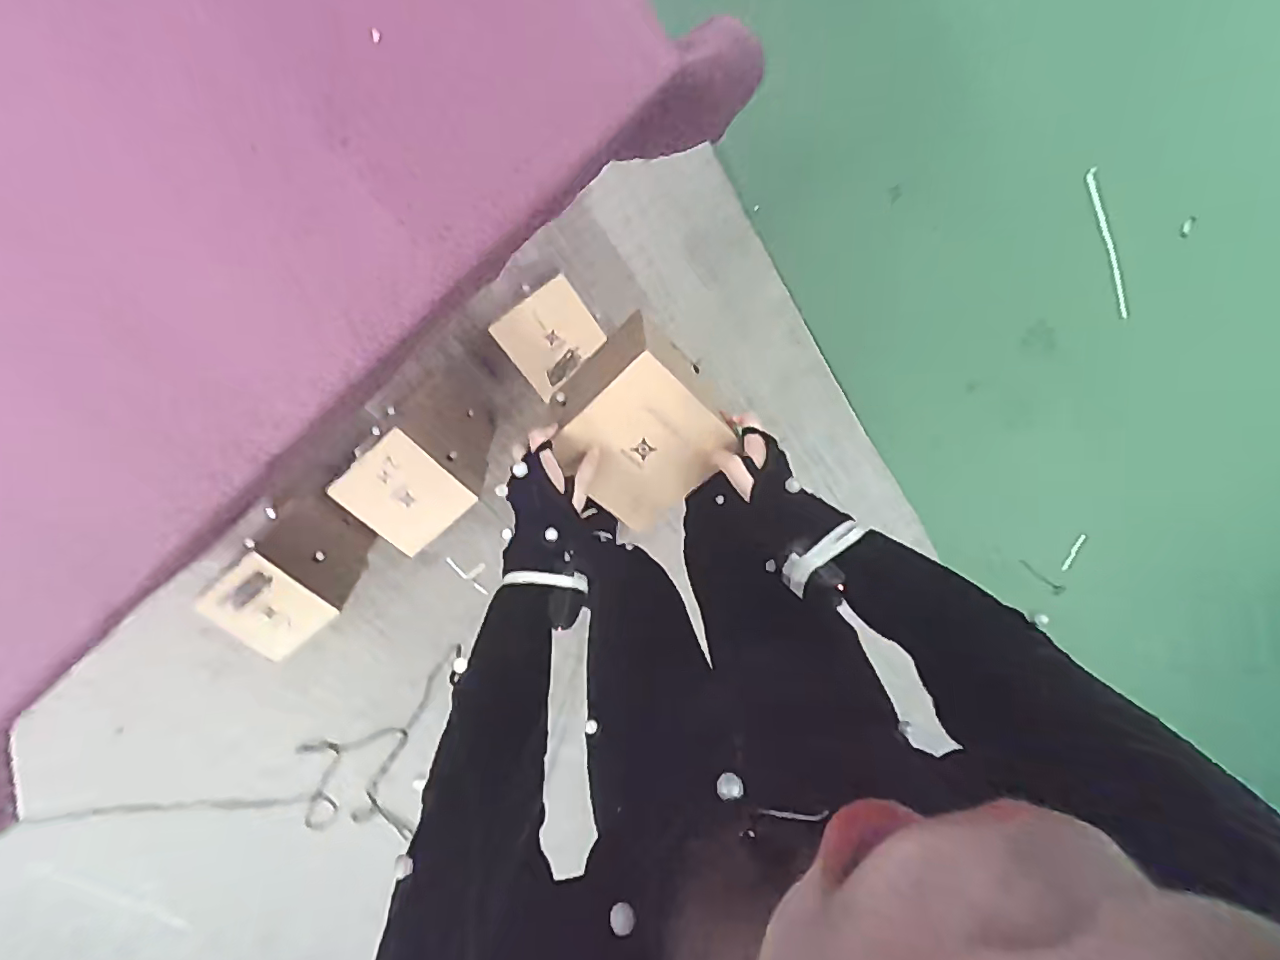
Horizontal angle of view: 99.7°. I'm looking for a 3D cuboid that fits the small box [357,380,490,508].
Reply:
[{"bbox_3d":[-0.430,-0.079,1.111,0.179,0.176,0.168,-38,113,9],"label":"small box"}]
